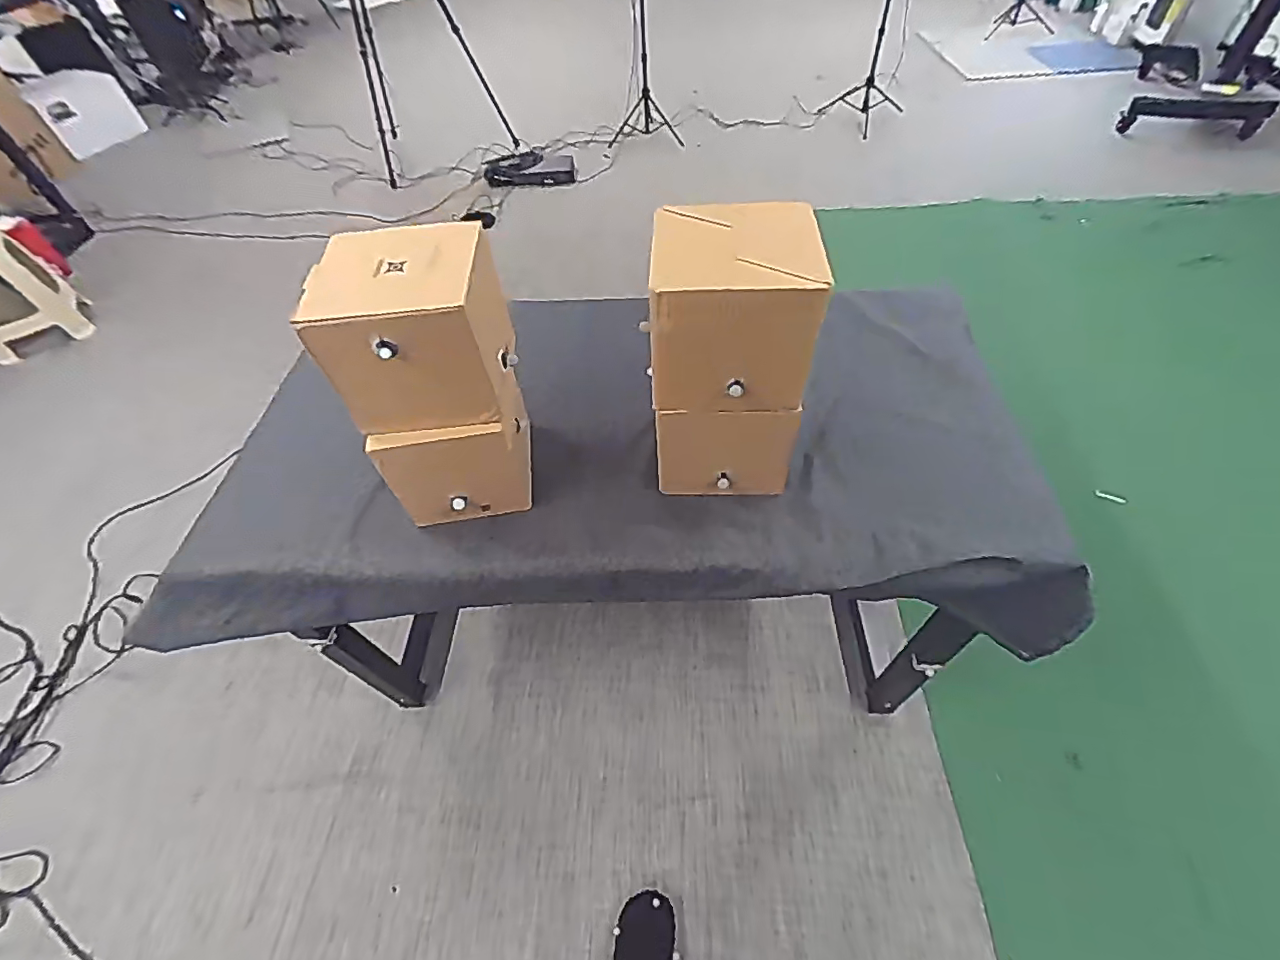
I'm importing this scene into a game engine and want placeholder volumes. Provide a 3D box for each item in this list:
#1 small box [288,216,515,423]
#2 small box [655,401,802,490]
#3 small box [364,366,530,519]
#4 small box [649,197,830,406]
[{"bbox_3d":[-0.257,-0.181,0.632,0.179,0.176,0.168,-5,54,-1],"label":"small box"},{"bbox_3d":[0.111,-0.099,0.749,0.179,0.176,0.168,0,53,4],"label":"small box"},{"bbox_3d":[-0.252,-0.070,0.752,0.168,0.176,0.179,-9,53,-2],"label":"small box"},{"bbox_3d":[0.100,-0.202,0.617,0.179,0.176,0.168,1,53,5],"label":"small box"}]
